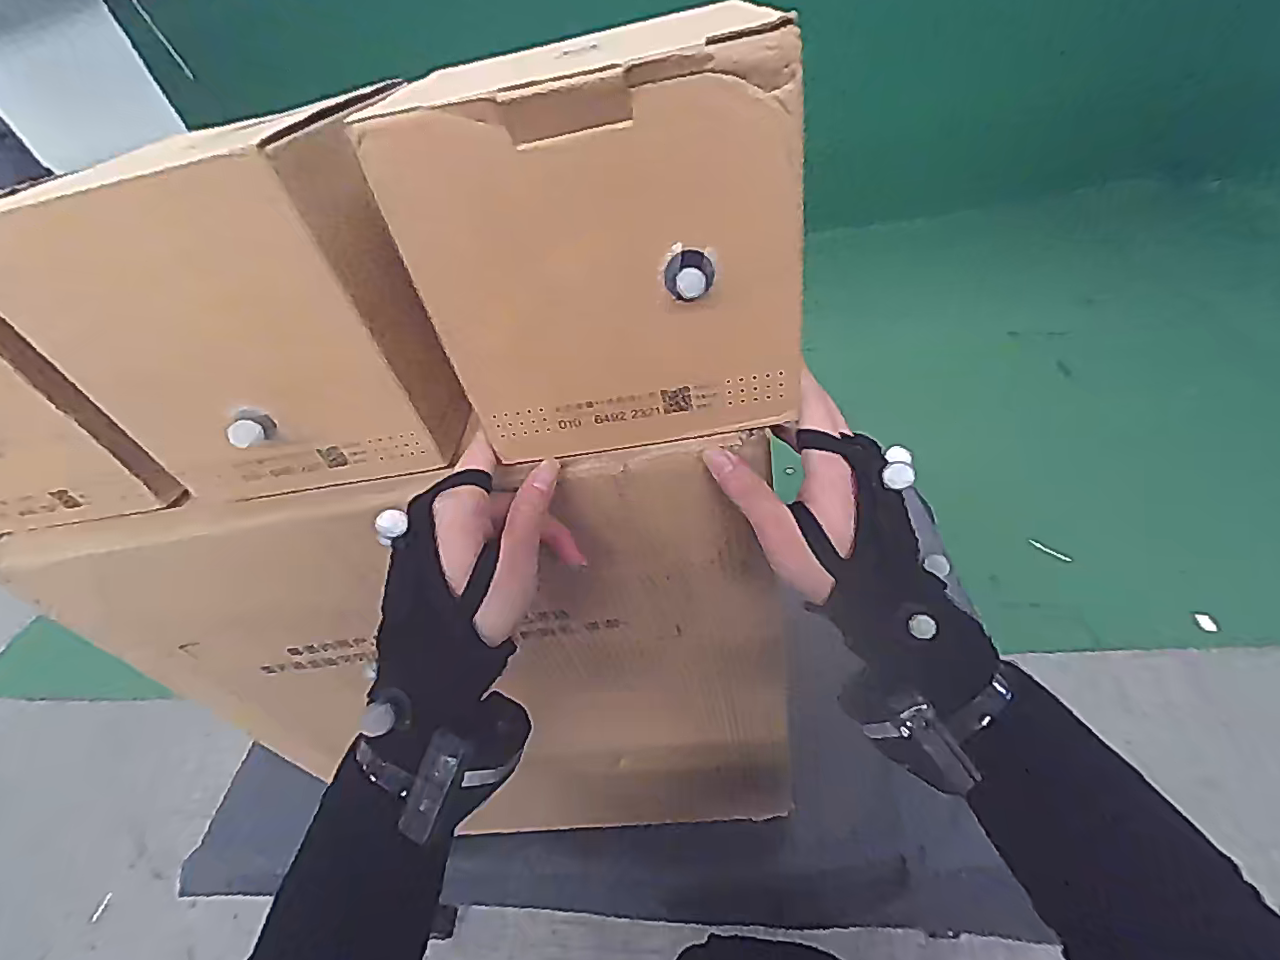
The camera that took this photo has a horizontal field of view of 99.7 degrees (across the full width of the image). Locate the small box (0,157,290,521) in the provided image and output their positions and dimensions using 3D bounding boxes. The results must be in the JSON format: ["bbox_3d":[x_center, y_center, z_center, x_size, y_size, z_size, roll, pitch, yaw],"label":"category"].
[{"bbox_3d":[-0.388,-0.086,0.366,0.168,0.176,0.179,-8,42,9],"label":"small box"}]

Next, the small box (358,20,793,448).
[{"bbox_3d":[-0.013,-0.131,0.305,0.168,0.176,0.179,-7,42,5],"label":"small box"}]
